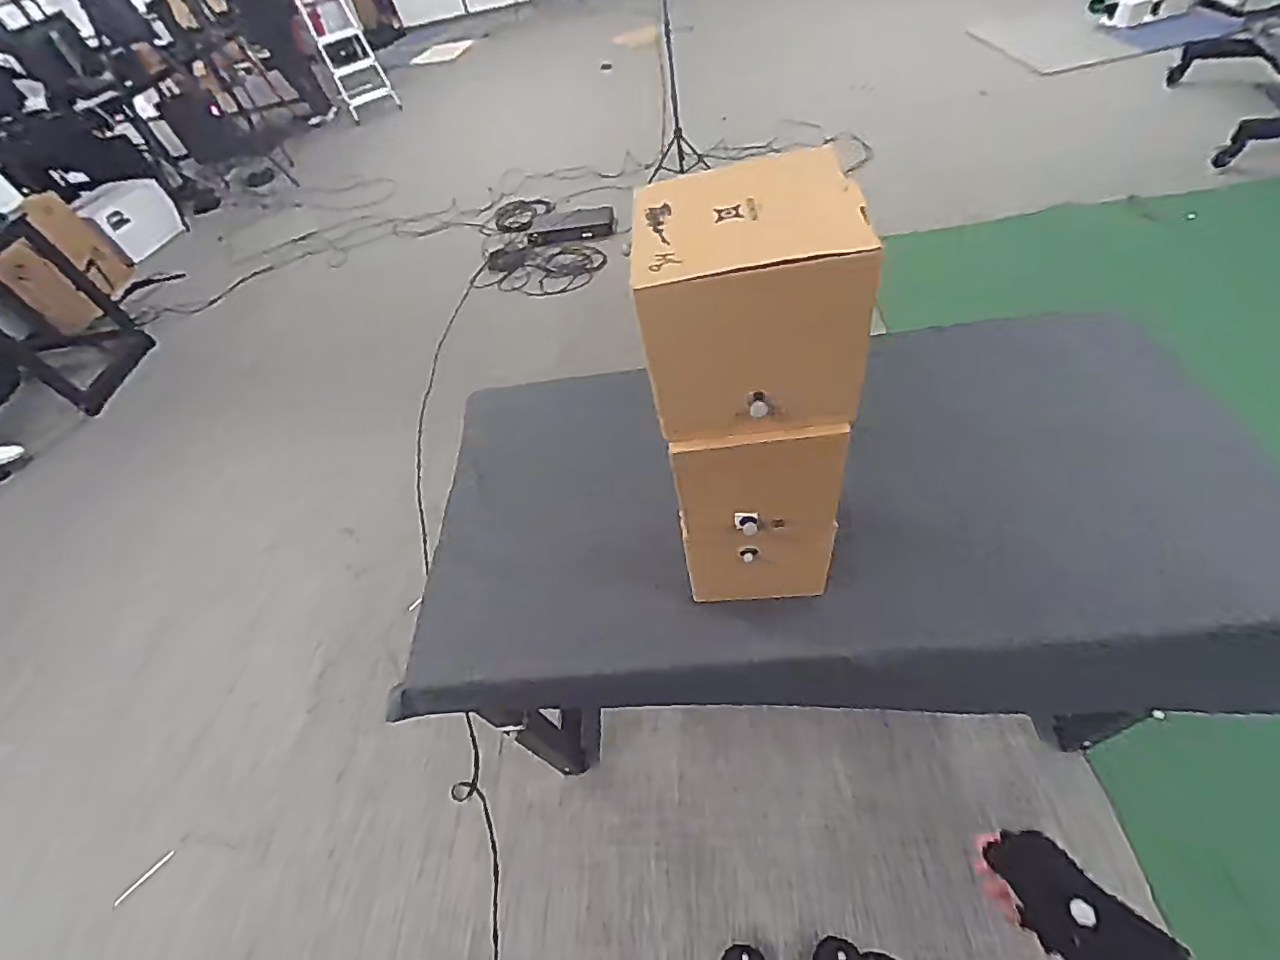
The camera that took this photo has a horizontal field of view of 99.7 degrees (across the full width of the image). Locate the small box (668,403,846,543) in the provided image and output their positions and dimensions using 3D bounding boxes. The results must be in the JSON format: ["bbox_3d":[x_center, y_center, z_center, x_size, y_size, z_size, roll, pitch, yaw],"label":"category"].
[{"bbox_3d":[0.121,-0.051,0.613,0.168,0.176,0.179,-8,51,8],"label":"small box"}]

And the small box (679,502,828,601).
[{"bbox_3d":[0.150,0.058,0.750,0.179,0.176,0.168,-5,51,8],"label":"small box"}]

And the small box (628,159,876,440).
[{"bbox_3d":[0.091,-0.156,0.491,0.179,0.176,0.168,-6,50,8],"label":"small box"}]
